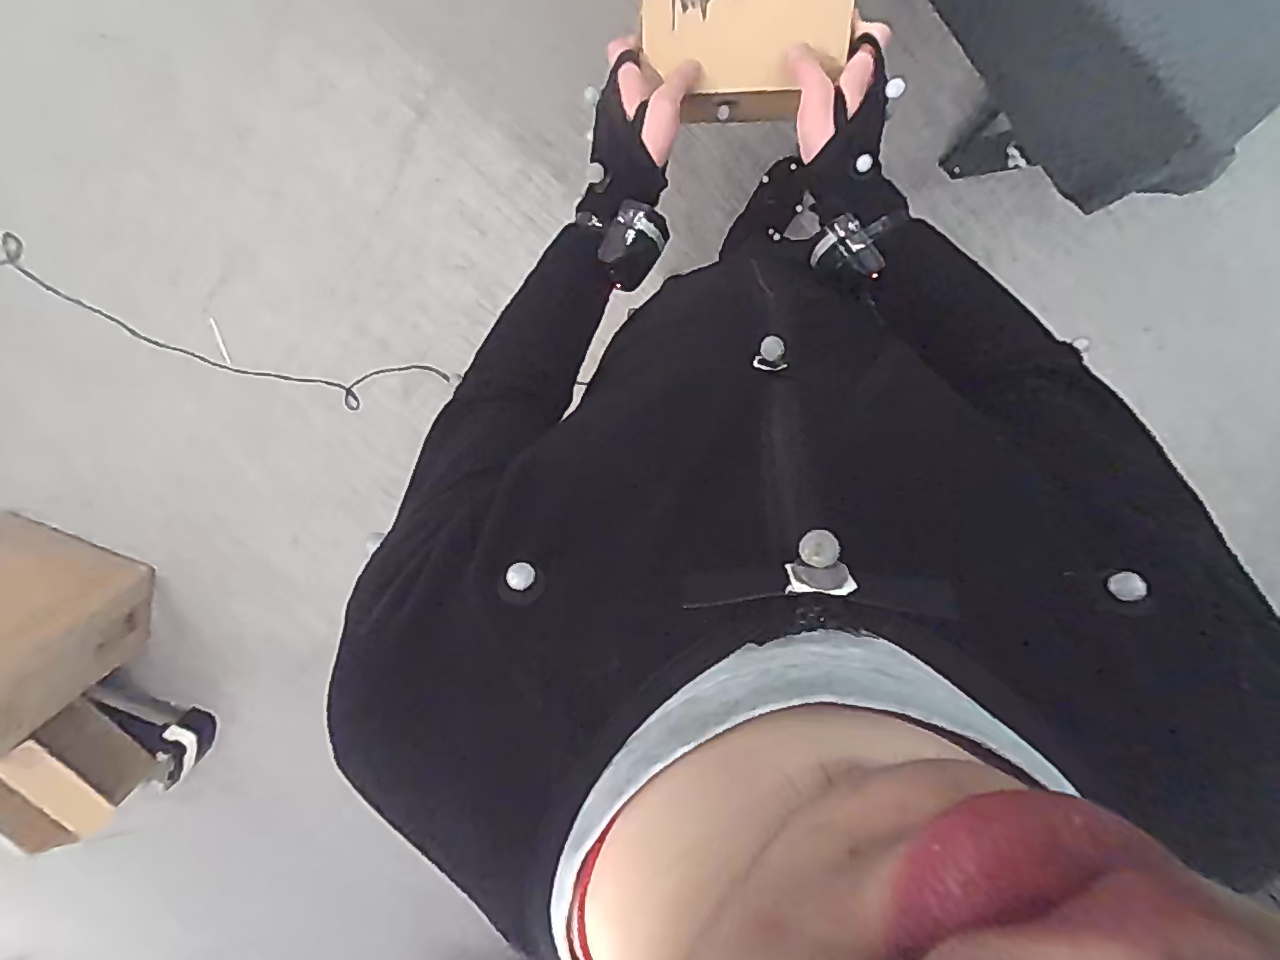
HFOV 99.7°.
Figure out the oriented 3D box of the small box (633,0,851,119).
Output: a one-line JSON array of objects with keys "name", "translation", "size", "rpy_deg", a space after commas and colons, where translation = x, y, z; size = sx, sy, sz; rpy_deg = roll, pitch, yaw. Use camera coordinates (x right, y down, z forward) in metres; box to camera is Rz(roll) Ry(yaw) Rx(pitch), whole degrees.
[{"name": "small box", "translation": [0.090, -0.440, 0.493], "size": [0.179, 0.176, 0.168], "rpy_deg": [2, 116, 6]}]
